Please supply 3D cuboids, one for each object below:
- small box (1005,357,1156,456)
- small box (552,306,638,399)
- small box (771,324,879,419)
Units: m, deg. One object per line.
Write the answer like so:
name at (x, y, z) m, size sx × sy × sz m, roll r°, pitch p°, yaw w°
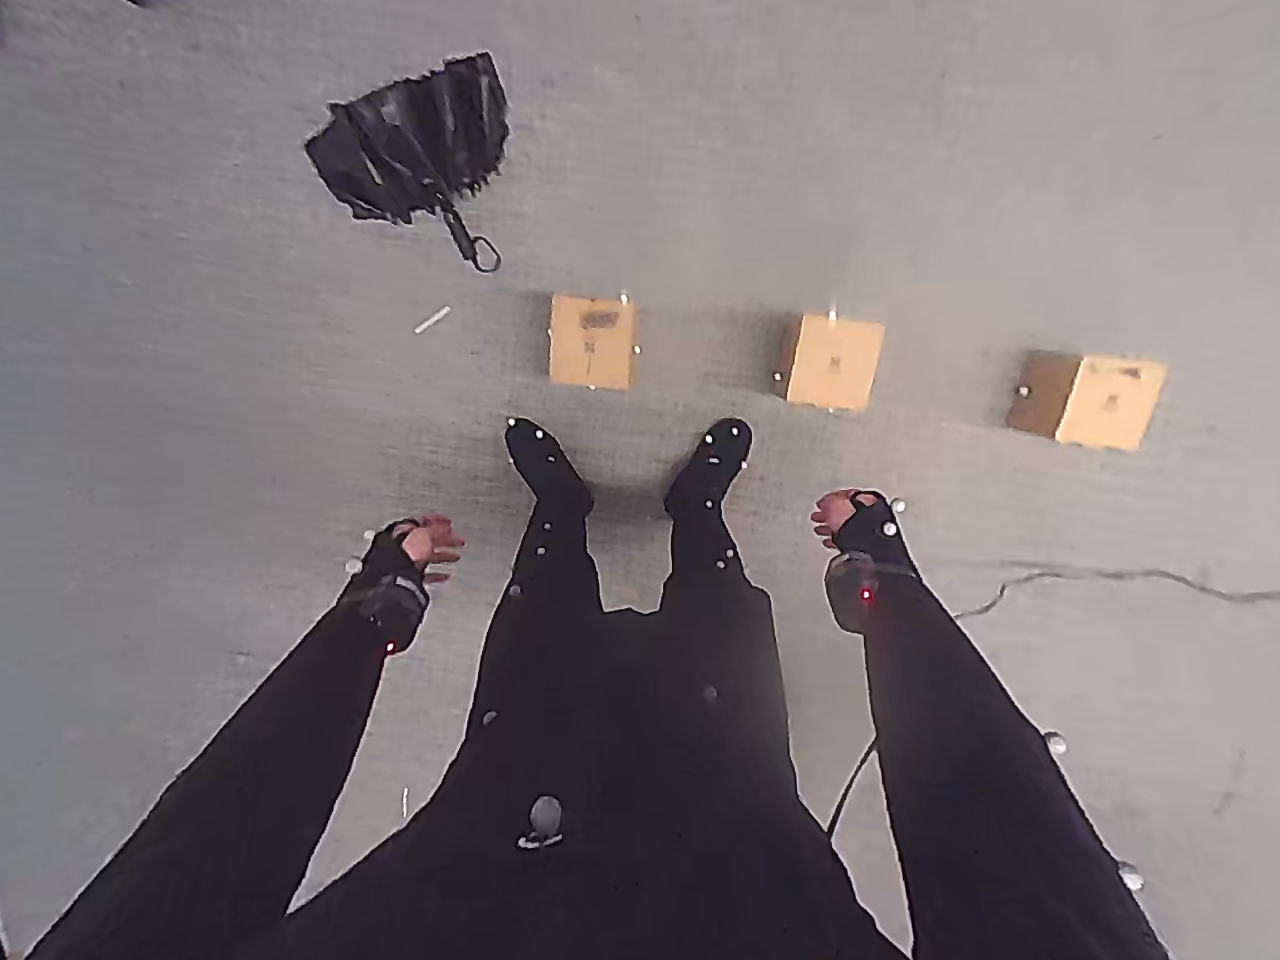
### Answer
small box at (0.932, -0.164, 1.166) m, size 0.168 × 0.176 × 0.179 m, roll 8°, pitch 105°, yaw 1°
small box at (-0.093, -0.279, 1.183) m, size 0.168 × 0.176 × 0.179 m, roll 5°, pitch 105°, yaw 2°
small box at (0.391, -0.238, 1.176) m, size 0.168 × 0.176 × 0.179 m, roll 6°, pitch 103°, yaw 0°
